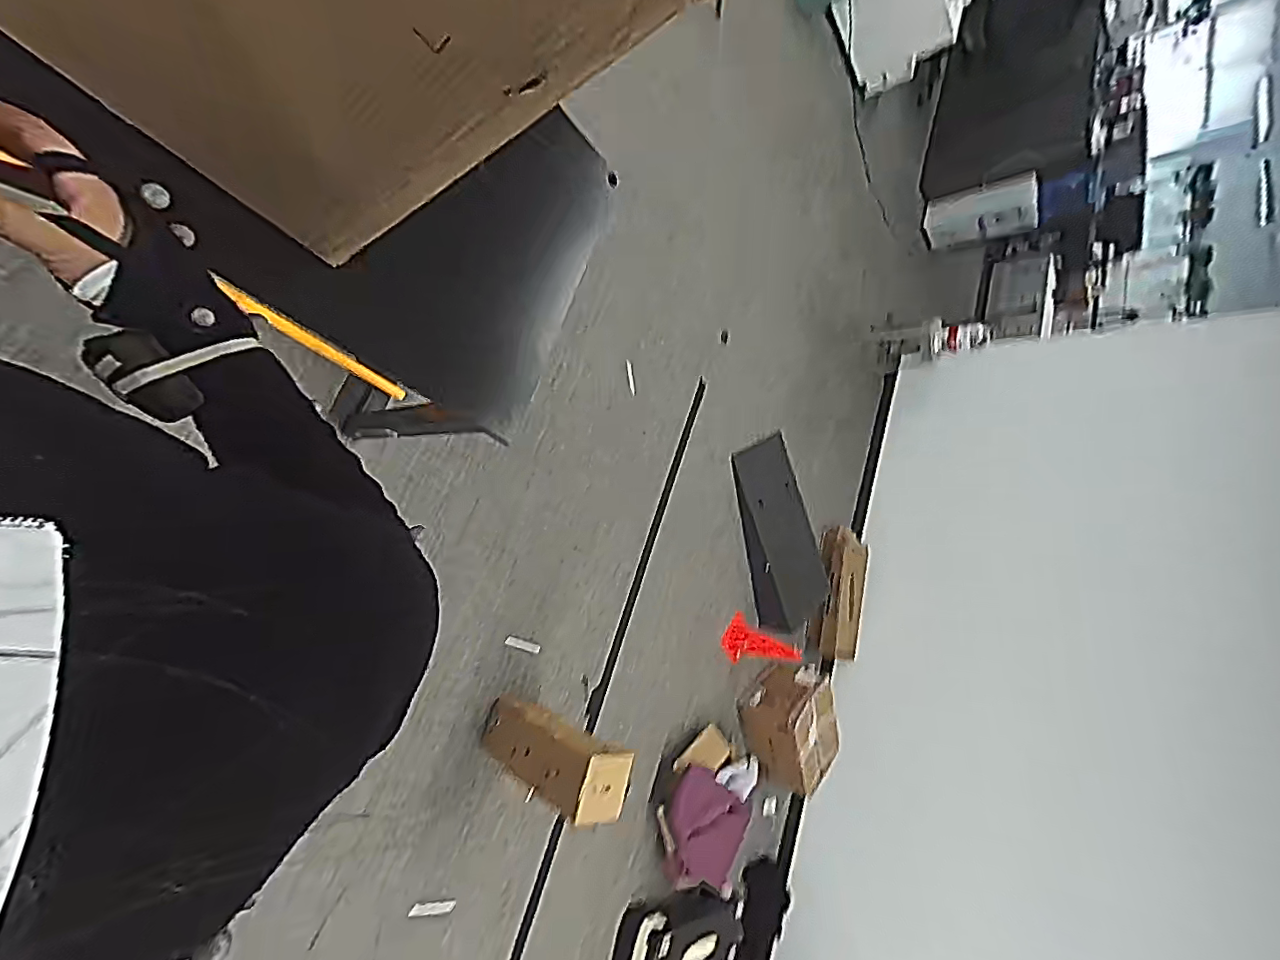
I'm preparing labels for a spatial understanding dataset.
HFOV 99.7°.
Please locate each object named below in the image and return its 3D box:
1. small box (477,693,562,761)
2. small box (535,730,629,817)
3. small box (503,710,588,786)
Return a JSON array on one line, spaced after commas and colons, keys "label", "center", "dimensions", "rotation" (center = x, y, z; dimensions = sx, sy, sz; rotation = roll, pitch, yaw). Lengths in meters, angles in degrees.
[{"label": "small box", "center": [-0.392, 0.805, 1.757], "dimensions": [0.179, 0.176, 0.168], "rotation": [32, 69, -42]}, {"label": "small box", "center": [-0.163, 0.813, 1.519], "dimensions": [0.179, 0.176, 0.168], "rotation": [27, 72, -44]}, {"label": "small box", "center": [-0.284, 0.809, 1.633], "dimensions": [0.179, 0.176, 0.168], "rotation": [33, 68, -42]}]
